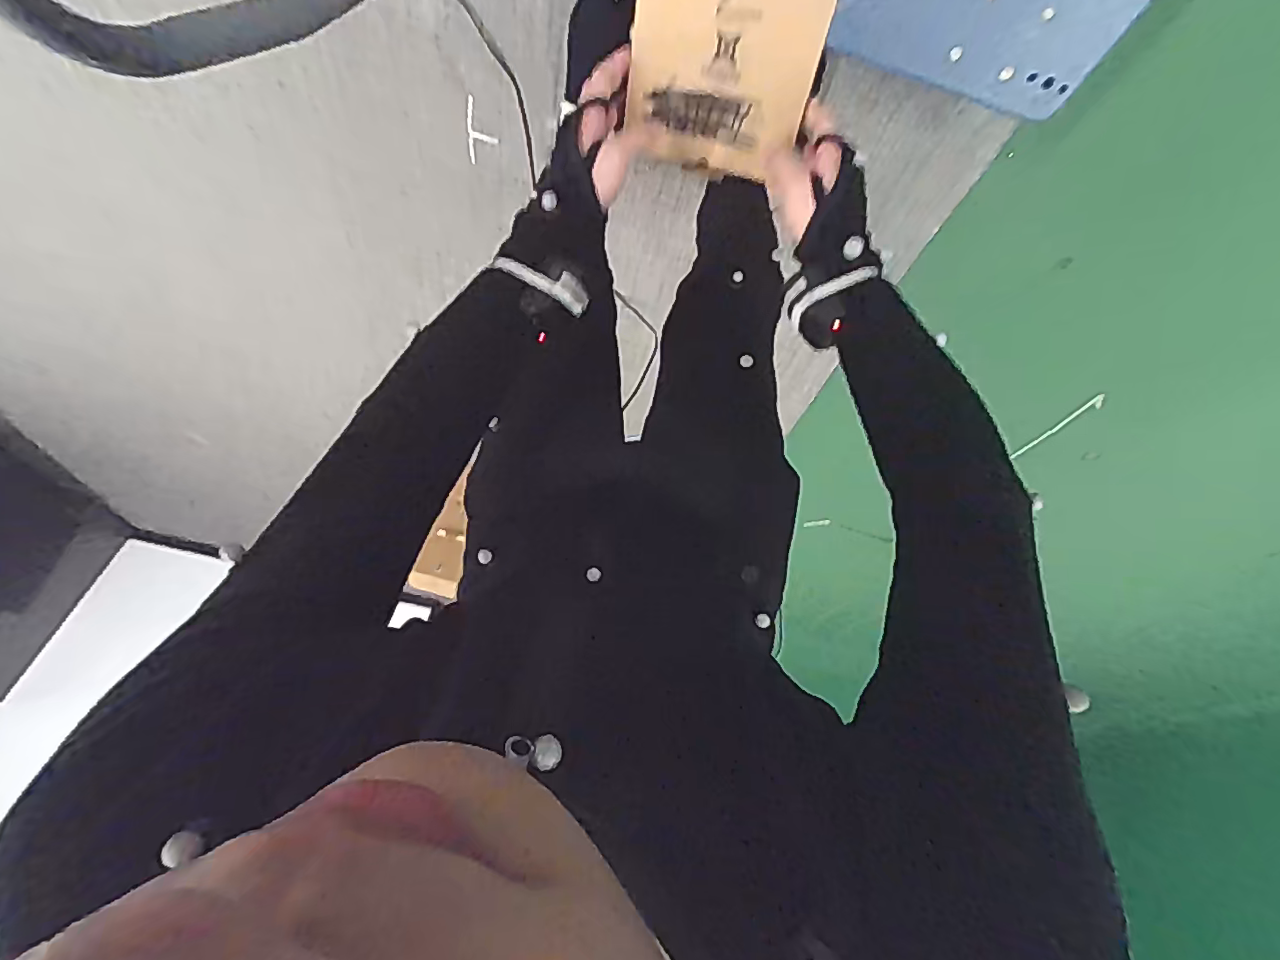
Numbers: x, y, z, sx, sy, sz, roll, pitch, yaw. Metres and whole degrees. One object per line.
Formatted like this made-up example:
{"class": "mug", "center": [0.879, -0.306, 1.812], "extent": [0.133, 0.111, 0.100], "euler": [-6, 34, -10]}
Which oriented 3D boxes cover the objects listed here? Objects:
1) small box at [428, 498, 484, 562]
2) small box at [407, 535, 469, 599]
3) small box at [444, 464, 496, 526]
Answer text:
{"class": "small box", "center": [-0.727, 0.198, 2.138], "extent": [0.168, 0.176, 0.179], "euler": [19, 146, -12]}
{"class": "small box", "center": [-0.761, 0.329, 2.046], "extent": [0.179, 0.176, 0.168], "euler": [19, 145, -11]}
{"class": "small box", "center": [-0.697, 0.059, 2.221], "extent": [0.168, 0.176, 0.179], "euler": [17, 145, -7]}
